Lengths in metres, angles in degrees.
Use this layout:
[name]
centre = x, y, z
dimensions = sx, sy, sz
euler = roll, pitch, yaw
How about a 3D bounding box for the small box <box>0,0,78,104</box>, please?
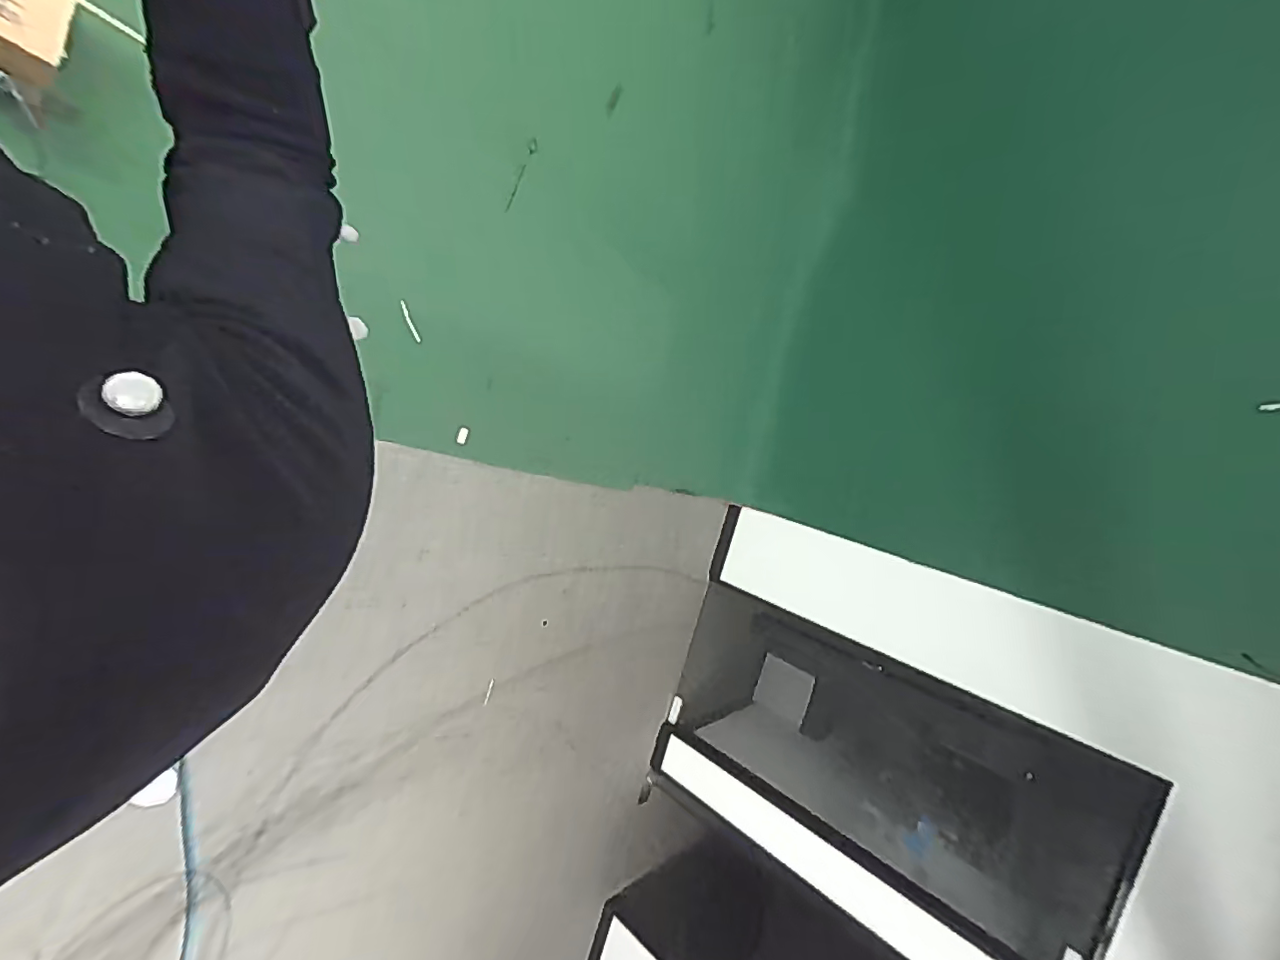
[small box]
centre = -0.986, -0.708, 0.811
dimensions = 0.168, 0.176, 0.179
euler = 16, 92, -53
